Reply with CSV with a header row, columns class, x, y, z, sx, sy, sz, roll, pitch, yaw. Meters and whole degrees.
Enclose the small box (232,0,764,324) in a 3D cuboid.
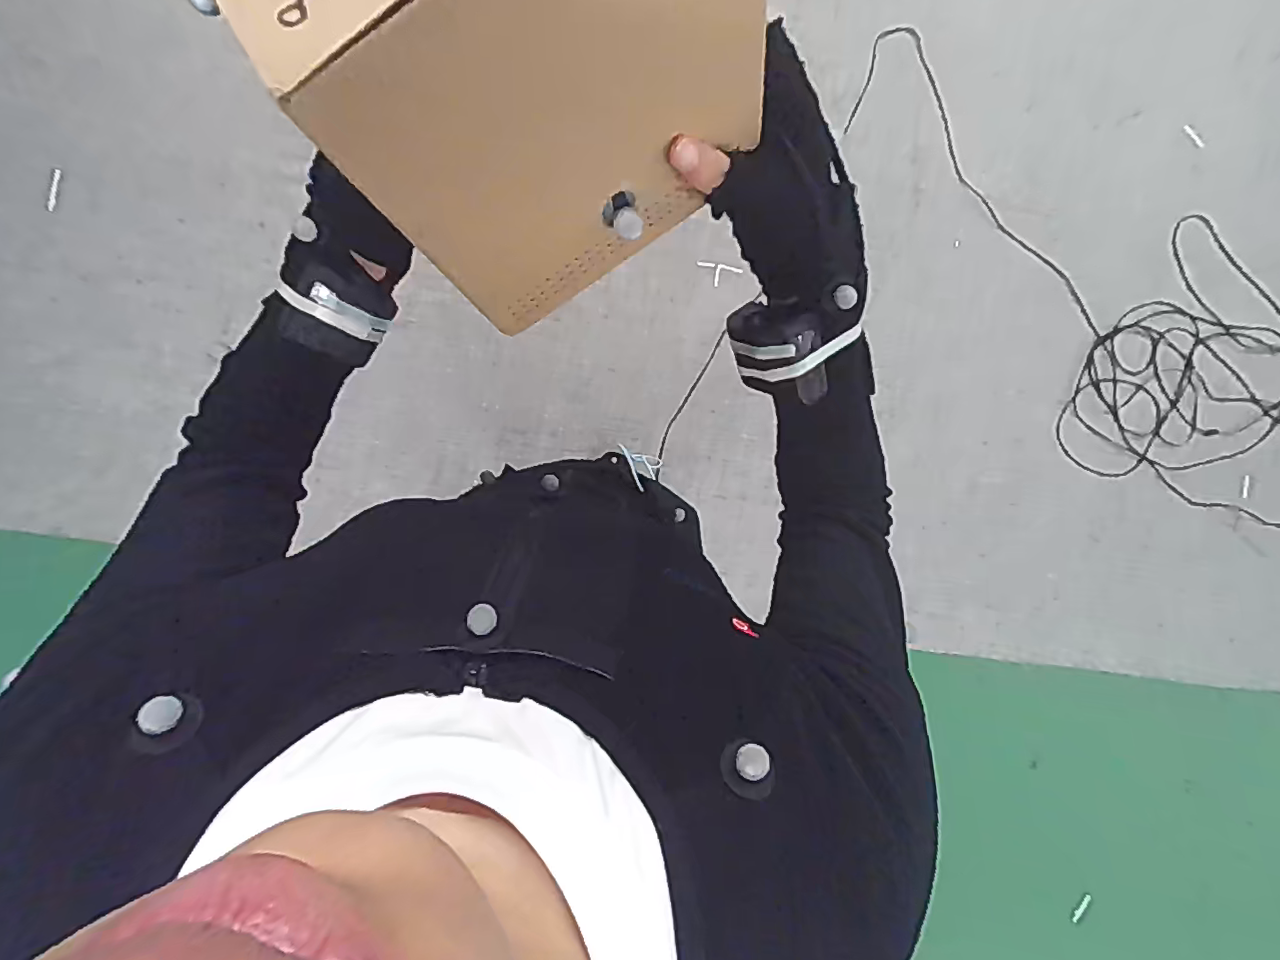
class,x,y,z,sx,sy,sz,roll,pitch,yaw
small box,-0.058,-0.209,0.246,0.179,0.176,0.168,-34,76,3
